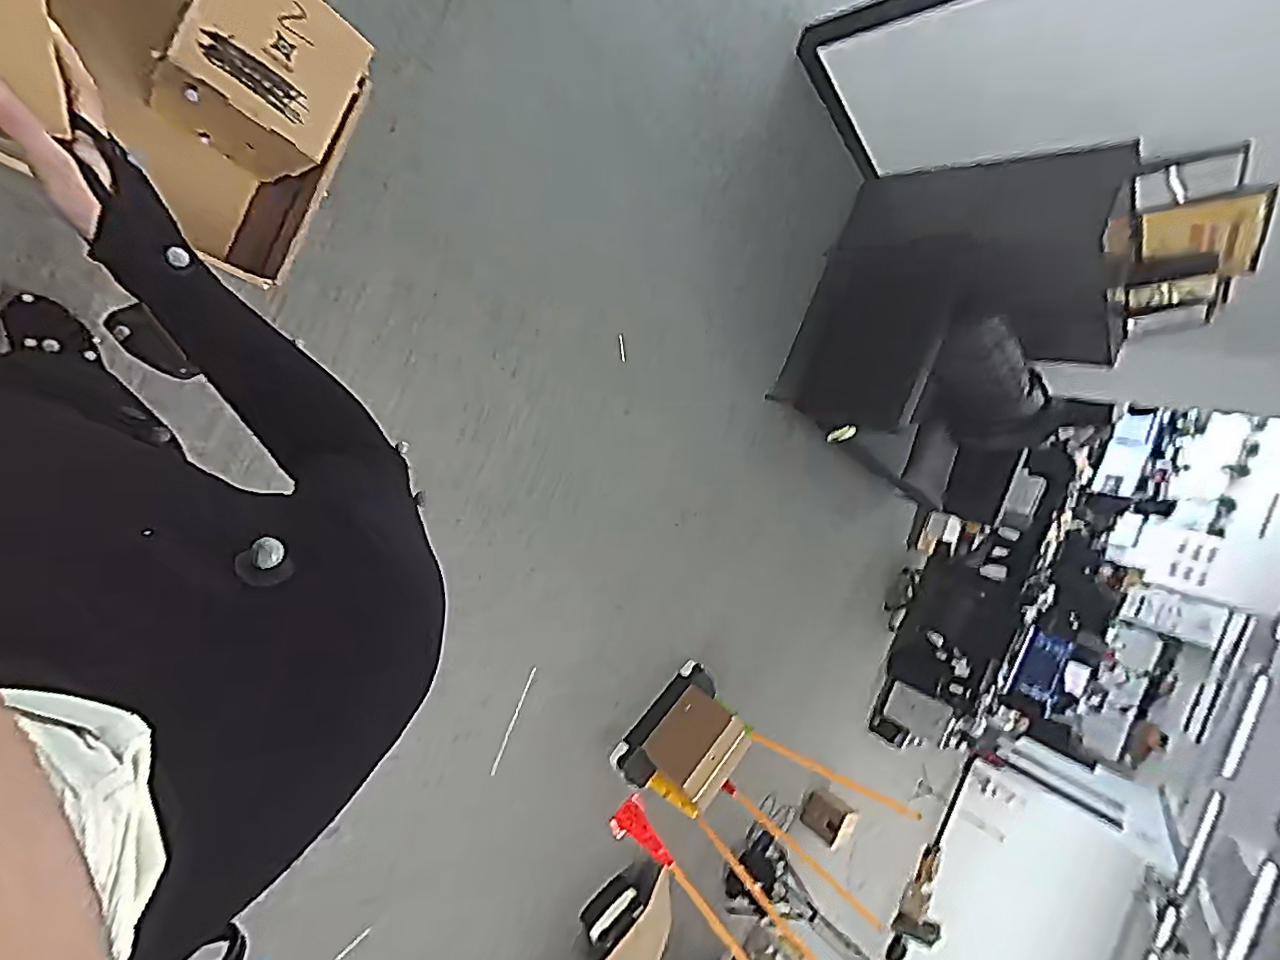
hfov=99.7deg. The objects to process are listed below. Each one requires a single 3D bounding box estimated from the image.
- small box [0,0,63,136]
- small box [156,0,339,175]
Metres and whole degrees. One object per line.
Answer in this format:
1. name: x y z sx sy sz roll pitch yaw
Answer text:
1. small box: -0.541 -0.350 0.370 0.179 0.176 0.168 -14 121 -46
2. small box: -0.599 -0.600 0.822 0.168 0.176 0.179 27 88 -47
